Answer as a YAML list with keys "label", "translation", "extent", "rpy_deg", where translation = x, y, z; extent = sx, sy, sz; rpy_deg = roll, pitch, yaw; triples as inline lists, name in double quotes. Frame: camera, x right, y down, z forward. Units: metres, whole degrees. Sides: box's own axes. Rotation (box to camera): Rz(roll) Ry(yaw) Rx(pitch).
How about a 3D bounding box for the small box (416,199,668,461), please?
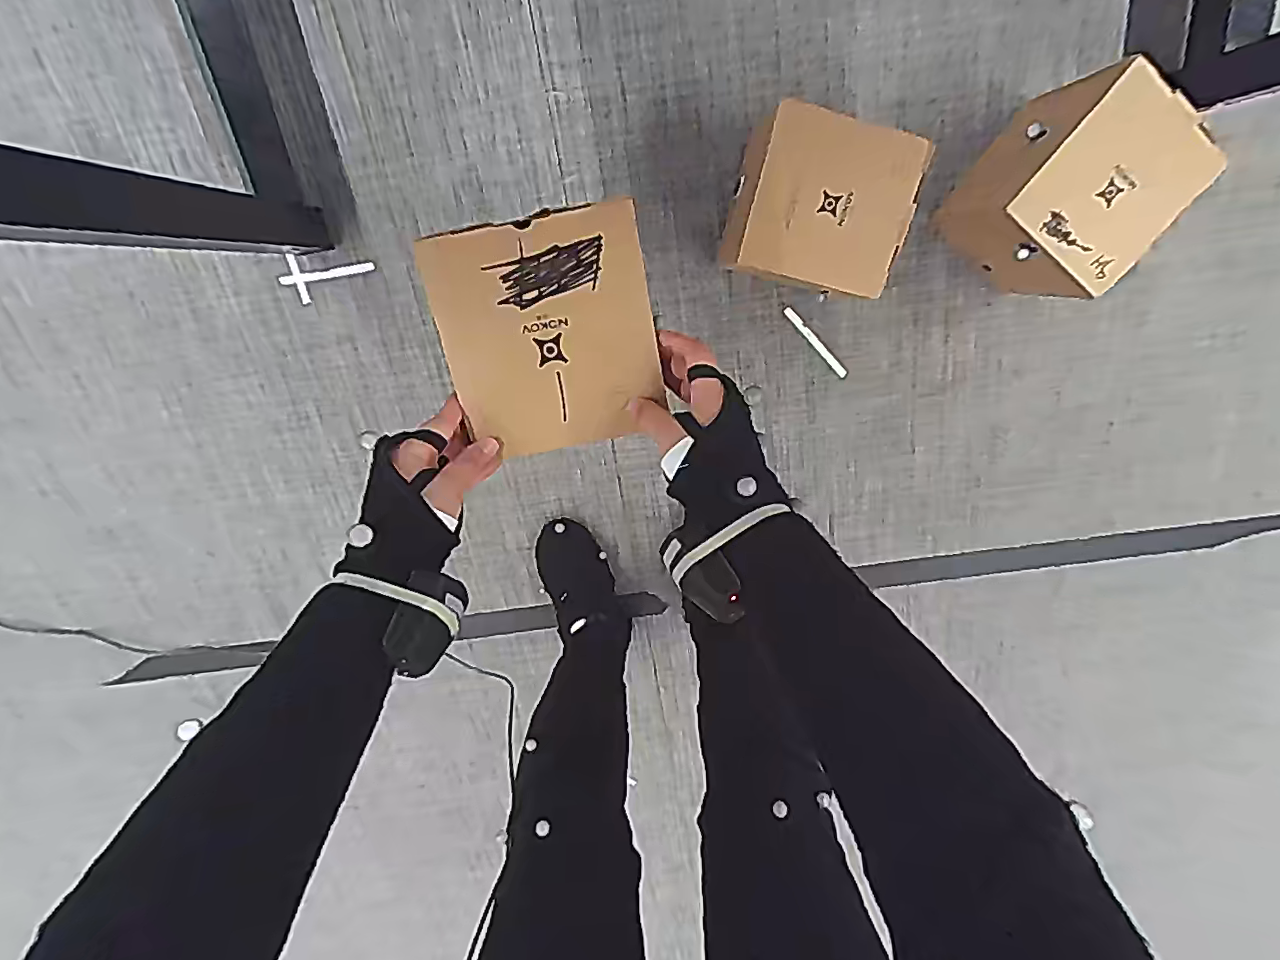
- label: "small box"
  translation: [-0.075, -0.135, 0.496]
  extent: [0.168, 0.176, 0.179]
  rpy_deg: [-11, 110, 2]

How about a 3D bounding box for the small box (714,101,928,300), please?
- label: "small box"
  translation: [0.203, -0.328, 0.665]
  extent: [0.179, 0.176, 0.168]
  rpy_deg: [11, 110, -5]

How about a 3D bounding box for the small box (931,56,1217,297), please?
- label: "small box"
  translation: [0.506, -0.350, 0.661]
  extent: [0.168, 0.176, 0.179]
  rpy_deg: [33, 107, -13]
